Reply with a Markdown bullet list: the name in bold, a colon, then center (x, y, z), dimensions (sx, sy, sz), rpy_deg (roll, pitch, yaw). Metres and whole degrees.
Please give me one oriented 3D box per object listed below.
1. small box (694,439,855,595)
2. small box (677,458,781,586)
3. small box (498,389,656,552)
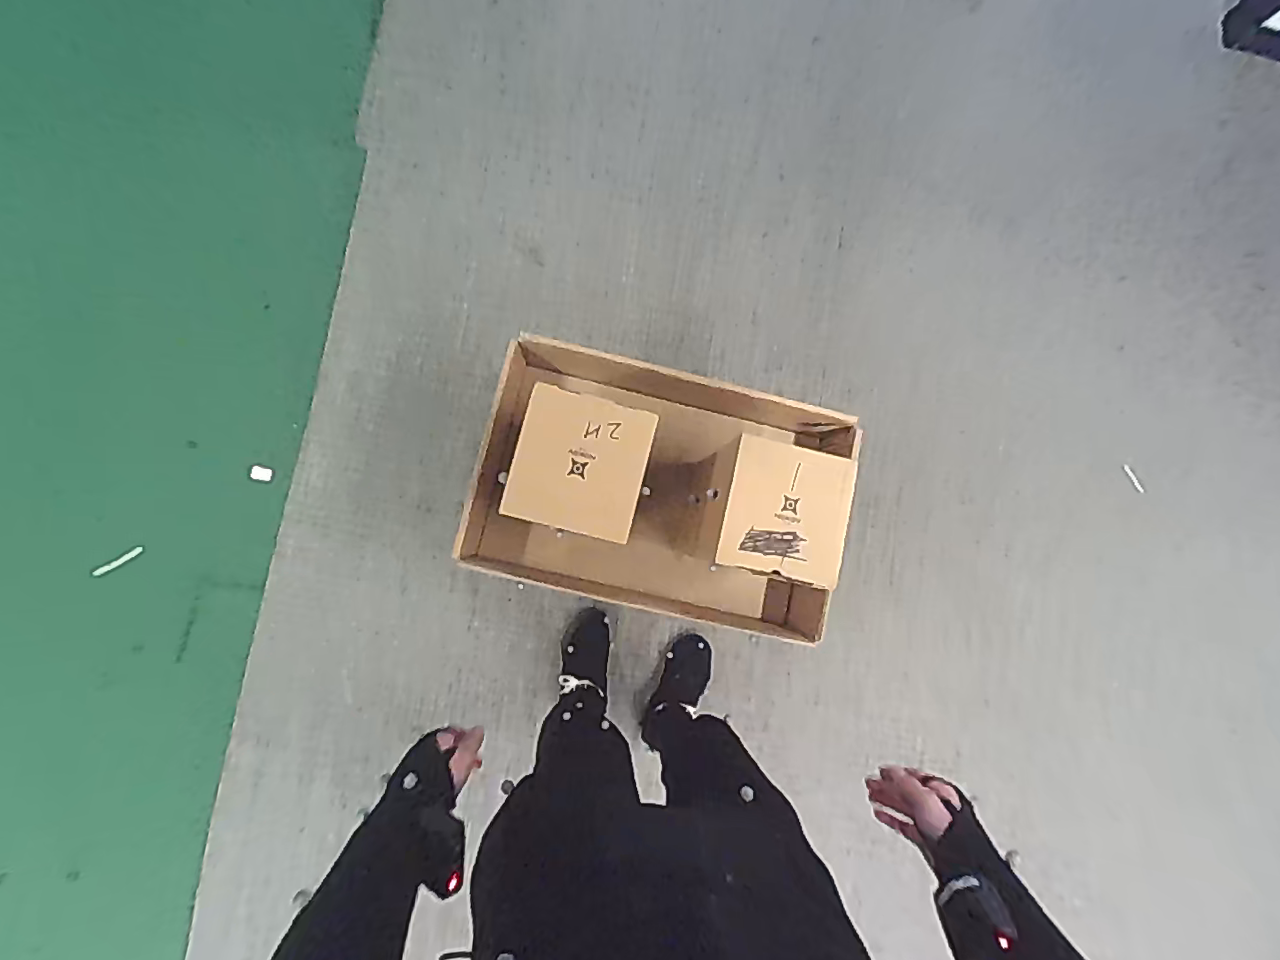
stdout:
- **small box**: center (0.183, 0.056, 0.784), dimensions (0.168, 0.176, 0.179), rpy_deg (14, 82, -4)
- **small box**: center (0.168, 0.075, 0.946), dimensions (0.168, 0.176, 0.179), rpy_deg (14, 83, -3)
- **small box**: center (-0.085, -0.005, 0.764), dimensions (0.168, 0.176, 0.179), rpy_deg (15, 83, -4)
